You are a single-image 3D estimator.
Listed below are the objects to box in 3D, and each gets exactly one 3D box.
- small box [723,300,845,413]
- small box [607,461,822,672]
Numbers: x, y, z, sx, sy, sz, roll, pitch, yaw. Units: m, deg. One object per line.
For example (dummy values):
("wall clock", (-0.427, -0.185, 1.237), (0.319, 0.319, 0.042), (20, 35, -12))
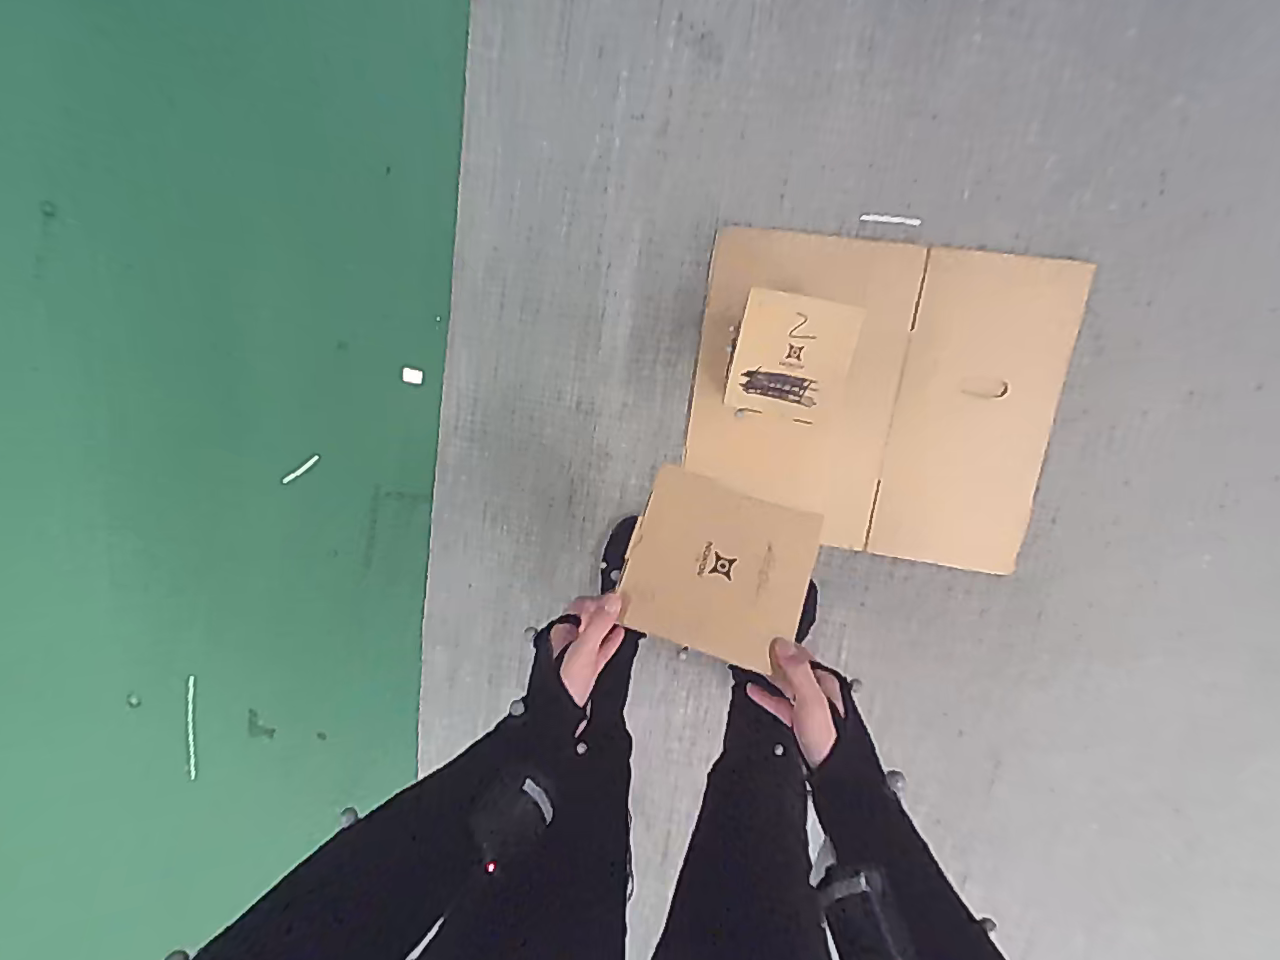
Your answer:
("small box", (0.258, -0.226, 1.011), (0.179, 0.176, 0.168), (13, 102, 6))
("small box", (0.076, 0.102, 0.608), (0.179, 0.176, 0.168), (19, 76, 5))
